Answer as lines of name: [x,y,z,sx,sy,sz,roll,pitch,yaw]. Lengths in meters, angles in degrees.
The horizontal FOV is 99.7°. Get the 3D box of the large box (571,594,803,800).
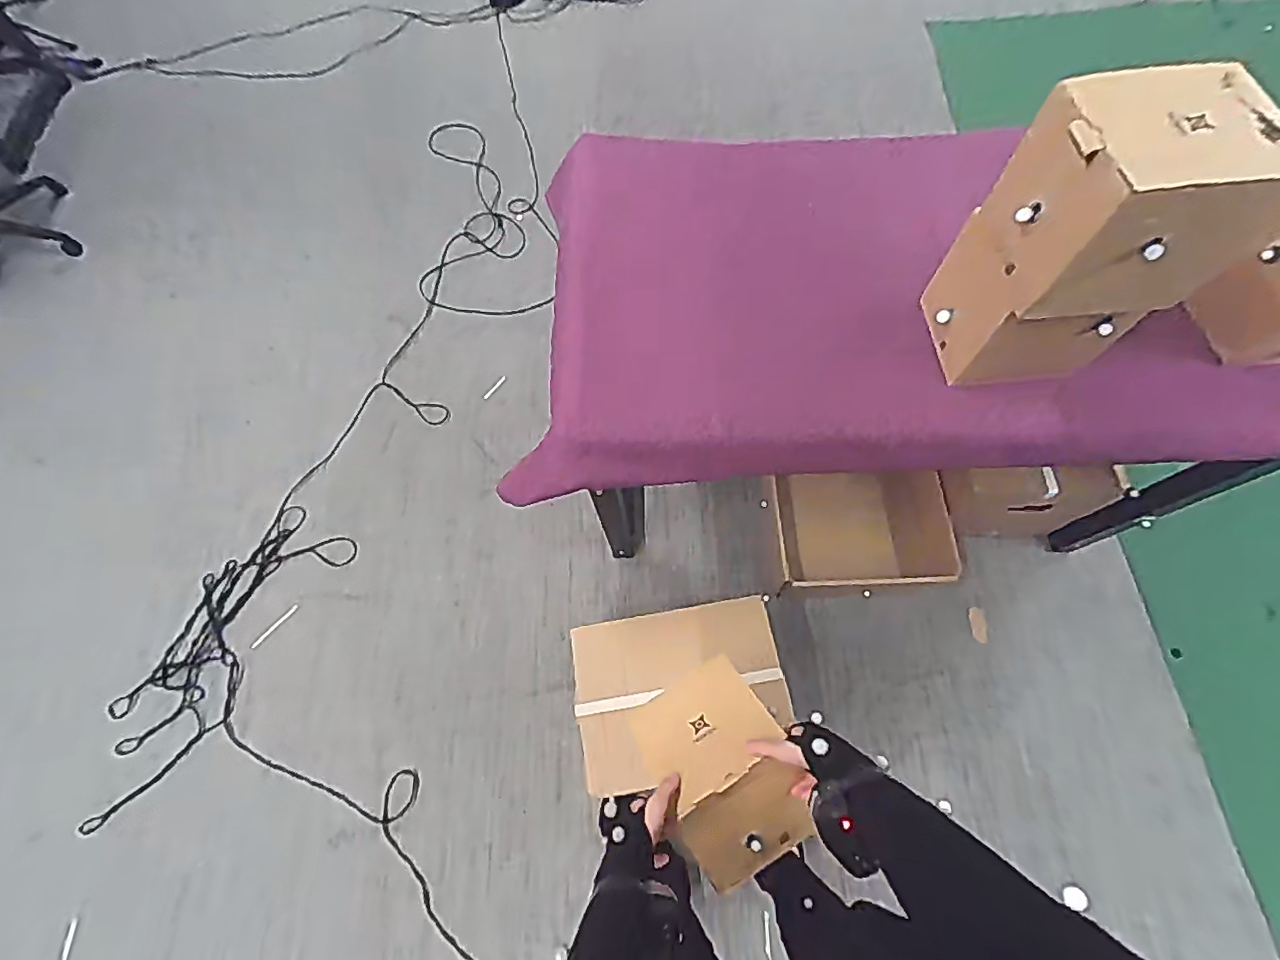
large box: [0.085,0.467,1.173,0.408,0.320,0.320,-10,66,-1]

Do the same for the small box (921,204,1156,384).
small box: [0.515,-0.246,0.726,0.179,0.176,0.168,-4,65,3]

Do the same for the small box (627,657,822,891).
small box: [0.108,0.380,0.715,0.168,0.176,0.179,-30,25,-8]

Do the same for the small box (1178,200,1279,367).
small box: [0.881,-0.273,0.713,0.168,0.176,0.179,-6,66,3]

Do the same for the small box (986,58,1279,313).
small box: [0.501,-0.295,0.569,0.179,0.176,0.168,-5,66,2]
